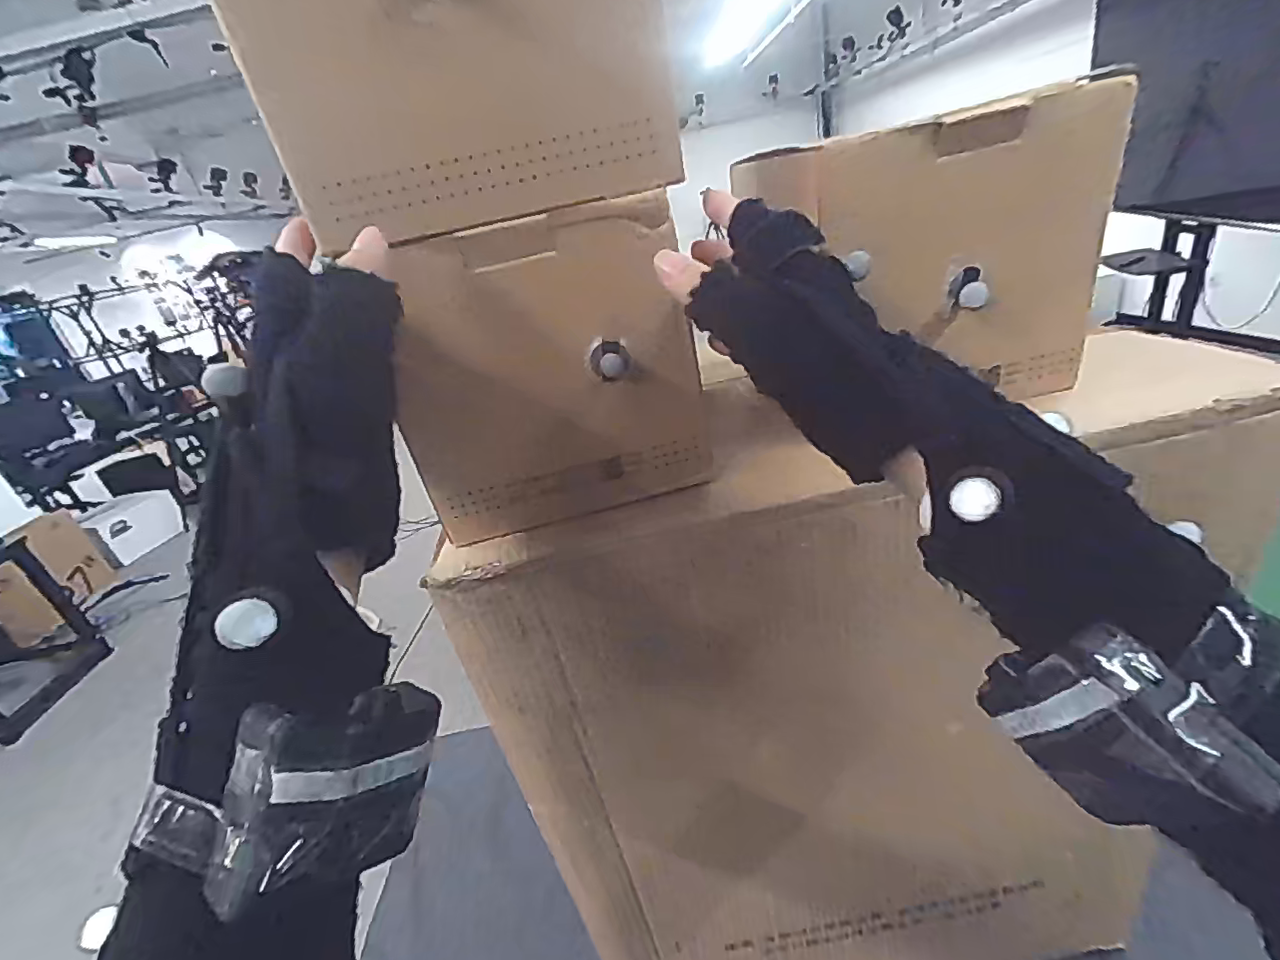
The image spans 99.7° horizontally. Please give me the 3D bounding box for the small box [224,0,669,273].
[{"bbox_3d":[-0.090,-0.219,0.288,0.179,0.176,0.168,-16,29,-10],"label":"small box"}]

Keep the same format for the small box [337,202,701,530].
[{"bbox_3d":[-0.063,-0.080,0.370,0.168,0.176,0.179,-13,27,-3],"label":"small box"}]

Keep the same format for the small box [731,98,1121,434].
[{"bbox_3d":[0.171,-0.142,0.383,0.168,0.176,0.179,-12,28,0],"label":"small box"}]
